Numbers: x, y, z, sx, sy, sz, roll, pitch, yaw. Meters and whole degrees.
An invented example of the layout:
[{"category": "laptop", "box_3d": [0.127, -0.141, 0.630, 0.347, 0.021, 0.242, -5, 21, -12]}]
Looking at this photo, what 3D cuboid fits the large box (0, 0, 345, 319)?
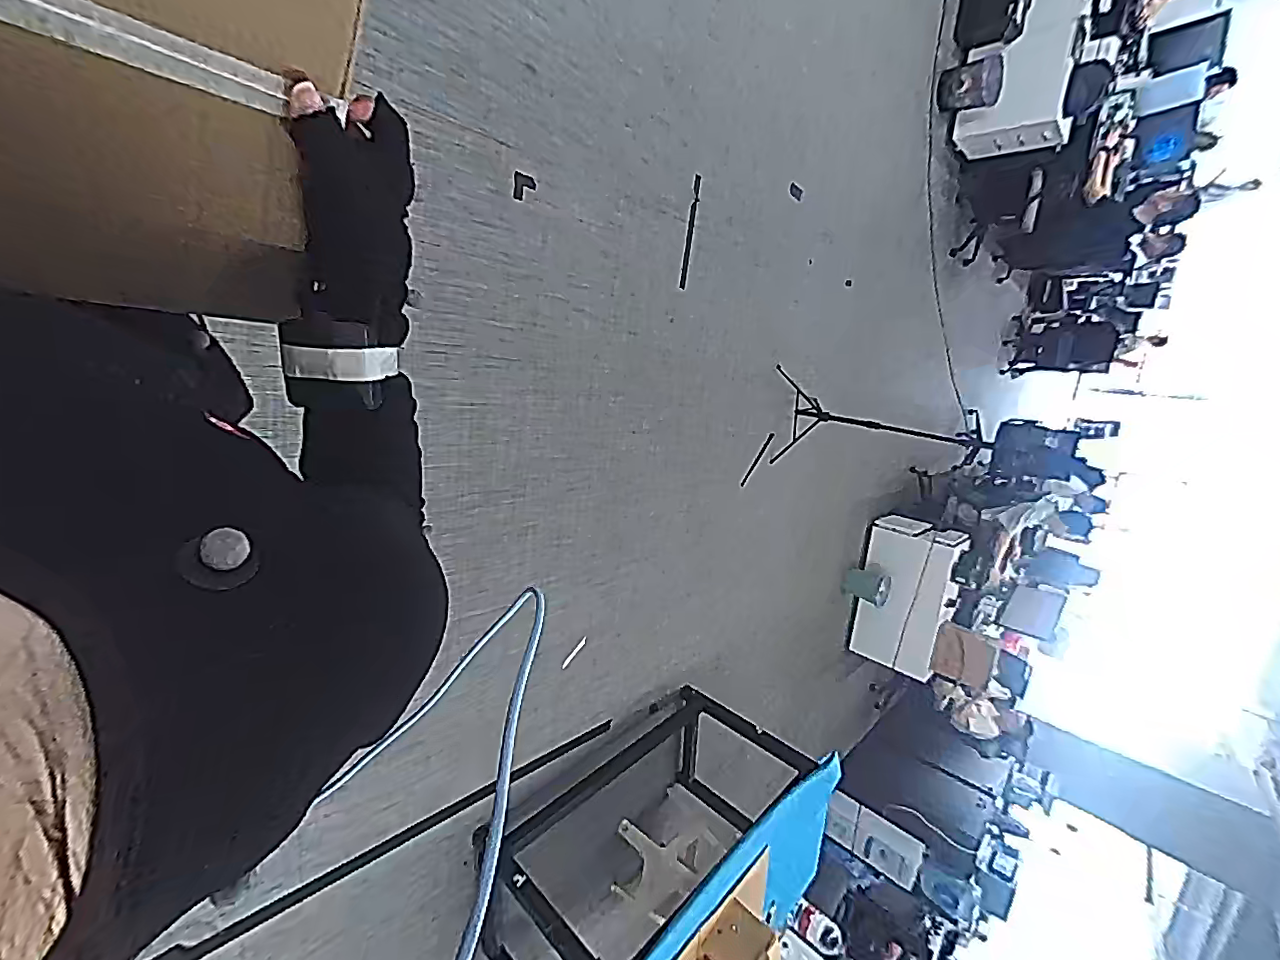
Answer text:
[{"category": "large box", "box_3d": [-0.415, -0.323, 0.275, 0.408, 0.320, 0.320, -5, 140, -45]}]
